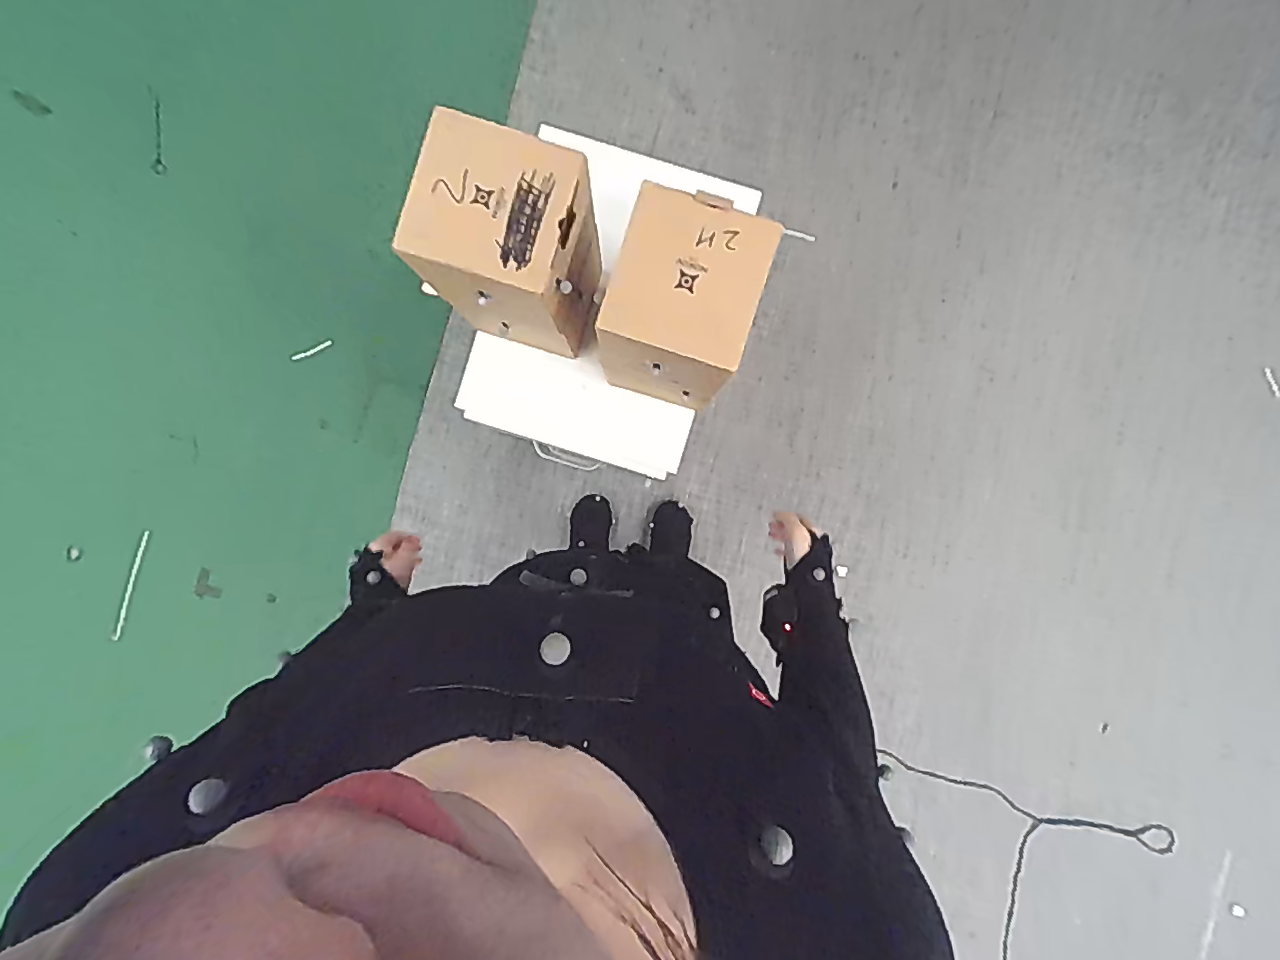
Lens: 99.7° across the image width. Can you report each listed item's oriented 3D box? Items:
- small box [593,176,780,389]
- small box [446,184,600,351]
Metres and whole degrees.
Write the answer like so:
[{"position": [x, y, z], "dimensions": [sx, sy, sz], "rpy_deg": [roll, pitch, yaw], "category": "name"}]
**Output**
[{"position": [0.051, -0.227, 0.673], "dimensions": [0.168, 0.176, 0.179], "rpy_deg": [18, 90, -1], "category": "small box"}, {"position": [-0.168, -0.313, 0.834], "dimensions": [0.179, 0.176, 0.168], "rpy_deg": [16, 90, -2], "category": "small box"}]
